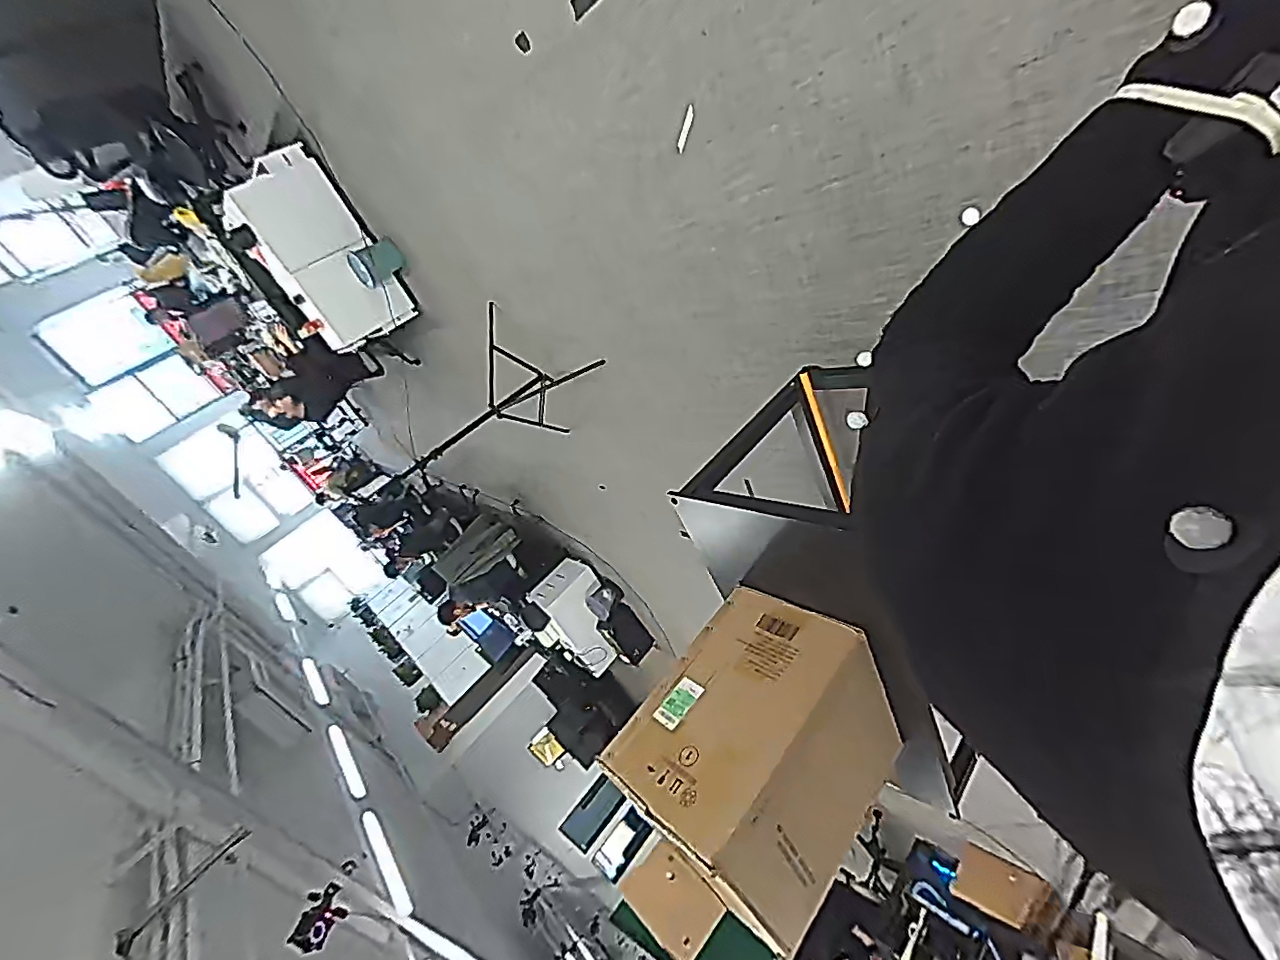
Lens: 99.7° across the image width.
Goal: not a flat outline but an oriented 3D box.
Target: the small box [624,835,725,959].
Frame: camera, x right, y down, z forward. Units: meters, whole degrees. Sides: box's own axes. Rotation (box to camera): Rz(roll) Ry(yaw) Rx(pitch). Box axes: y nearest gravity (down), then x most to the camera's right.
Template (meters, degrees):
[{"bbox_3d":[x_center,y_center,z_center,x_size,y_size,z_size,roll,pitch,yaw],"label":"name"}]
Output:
[{"bbox_3d":[0.095,1.082,1.408,0.168,0.176,0.179,13,138,52],"label":"small box"}]
